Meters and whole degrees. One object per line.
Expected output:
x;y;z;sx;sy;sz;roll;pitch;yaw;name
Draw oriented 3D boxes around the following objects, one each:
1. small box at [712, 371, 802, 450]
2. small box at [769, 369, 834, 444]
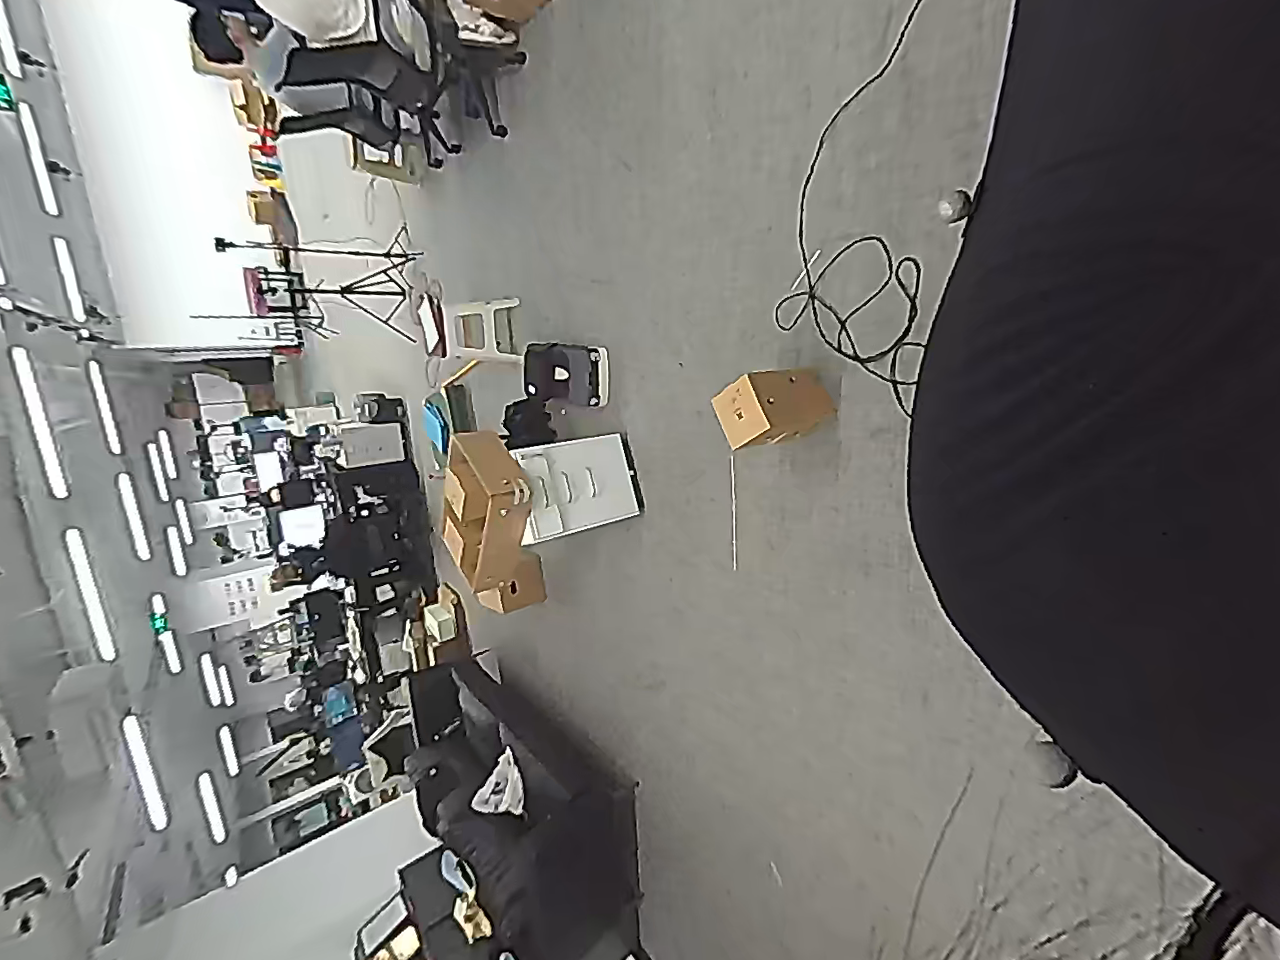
0.353;-0.212;1.618;0.168;0.176;0.179;-35;73;51;small box
0.481;-0.238;1.718;0.168;0.176;0.179;-43;66;49;small box
